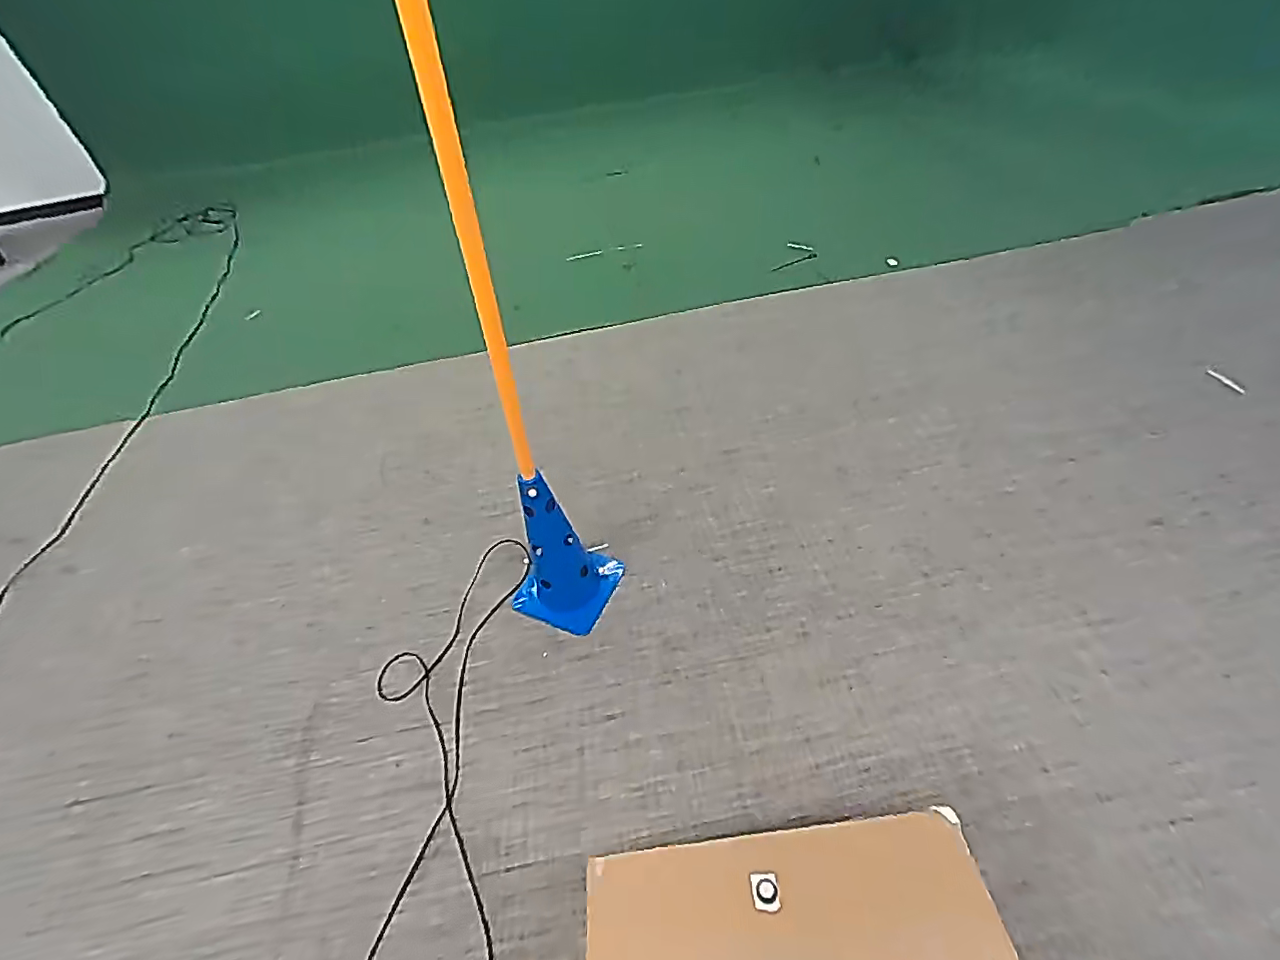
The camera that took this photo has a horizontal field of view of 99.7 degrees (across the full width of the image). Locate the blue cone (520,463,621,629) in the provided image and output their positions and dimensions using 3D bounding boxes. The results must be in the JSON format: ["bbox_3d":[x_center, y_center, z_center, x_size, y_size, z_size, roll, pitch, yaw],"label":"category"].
[{"bbox_3d":[-0.170,0.113,1.076,0.192,0.380,0.193,13,48,20],"label":"blue cone"}]
